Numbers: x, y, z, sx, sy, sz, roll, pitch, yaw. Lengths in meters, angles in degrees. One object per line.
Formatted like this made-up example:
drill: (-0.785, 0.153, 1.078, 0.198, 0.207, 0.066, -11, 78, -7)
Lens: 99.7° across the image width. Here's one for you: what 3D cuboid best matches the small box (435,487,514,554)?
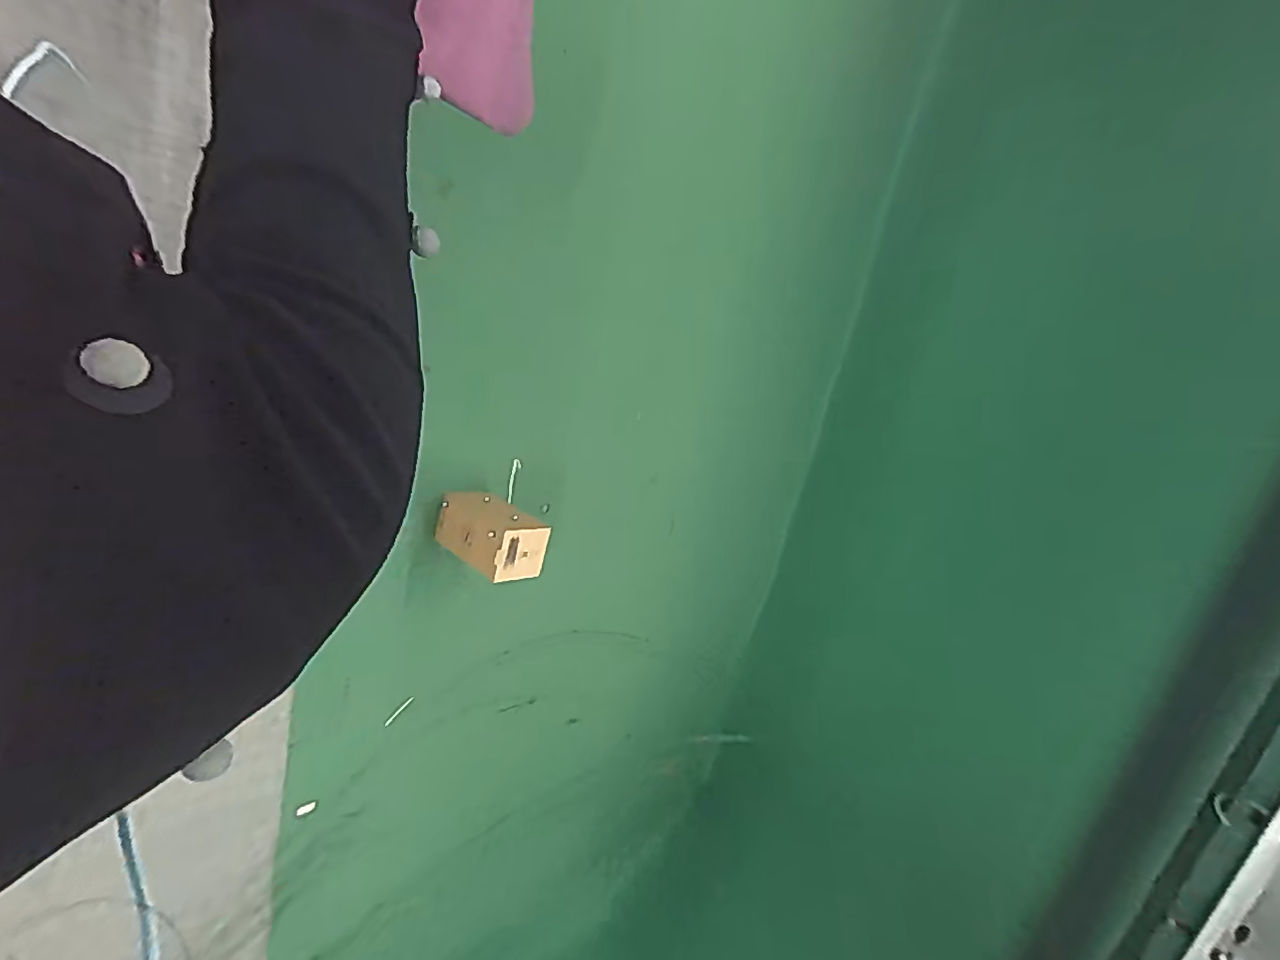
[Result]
small box: (-0.543, 0.126, 1.761, 0.179, 0.176, 0.168, -2, 110, -49)
